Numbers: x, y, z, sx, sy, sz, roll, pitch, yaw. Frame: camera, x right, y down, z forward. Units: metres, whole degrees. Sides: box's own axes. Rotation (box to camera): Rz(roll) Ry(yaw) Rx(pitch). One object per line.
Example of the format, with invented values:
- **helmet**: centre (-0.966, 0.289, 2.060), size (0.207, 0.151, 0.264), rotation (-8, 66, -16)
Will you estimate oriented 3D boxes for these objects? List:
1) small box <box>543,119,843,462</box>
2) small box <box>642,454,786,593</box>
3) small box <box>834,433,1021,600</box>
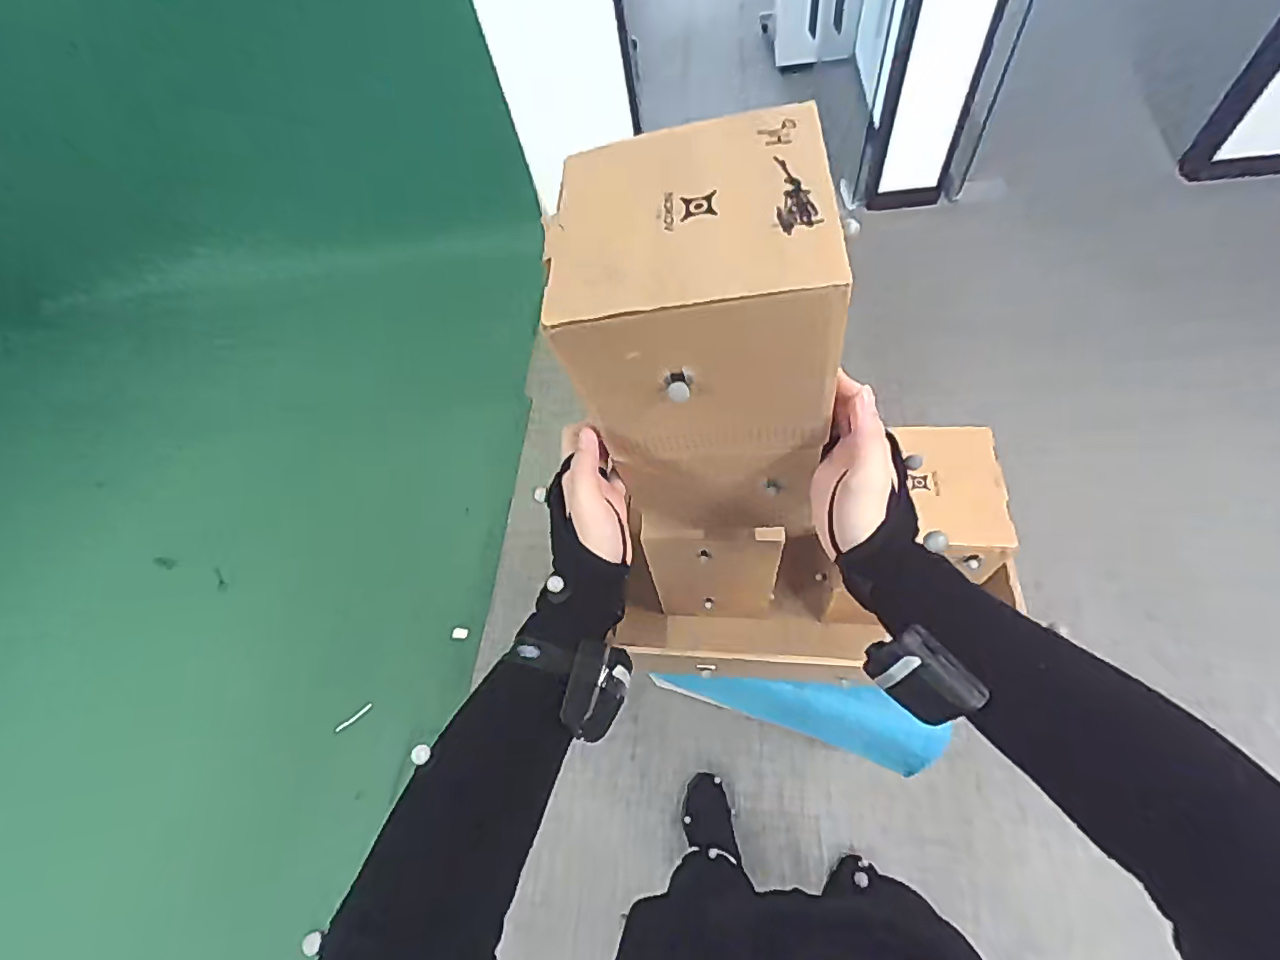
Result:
- **small box**: centre (0.048, -0.124, 0.408), size (0.179, 0.176, 0.168), rotation (-4, 62, 13)
- **small box**: centre (0.106, 0.052, 0.757), size (0.179, 0.176, 0.168), rotation (1, 59, 9)
- **small box**: centre (0.357, 0.053, 0.716), size (0.179, 0.176, 0.168), rotation (1, 60, 12)
